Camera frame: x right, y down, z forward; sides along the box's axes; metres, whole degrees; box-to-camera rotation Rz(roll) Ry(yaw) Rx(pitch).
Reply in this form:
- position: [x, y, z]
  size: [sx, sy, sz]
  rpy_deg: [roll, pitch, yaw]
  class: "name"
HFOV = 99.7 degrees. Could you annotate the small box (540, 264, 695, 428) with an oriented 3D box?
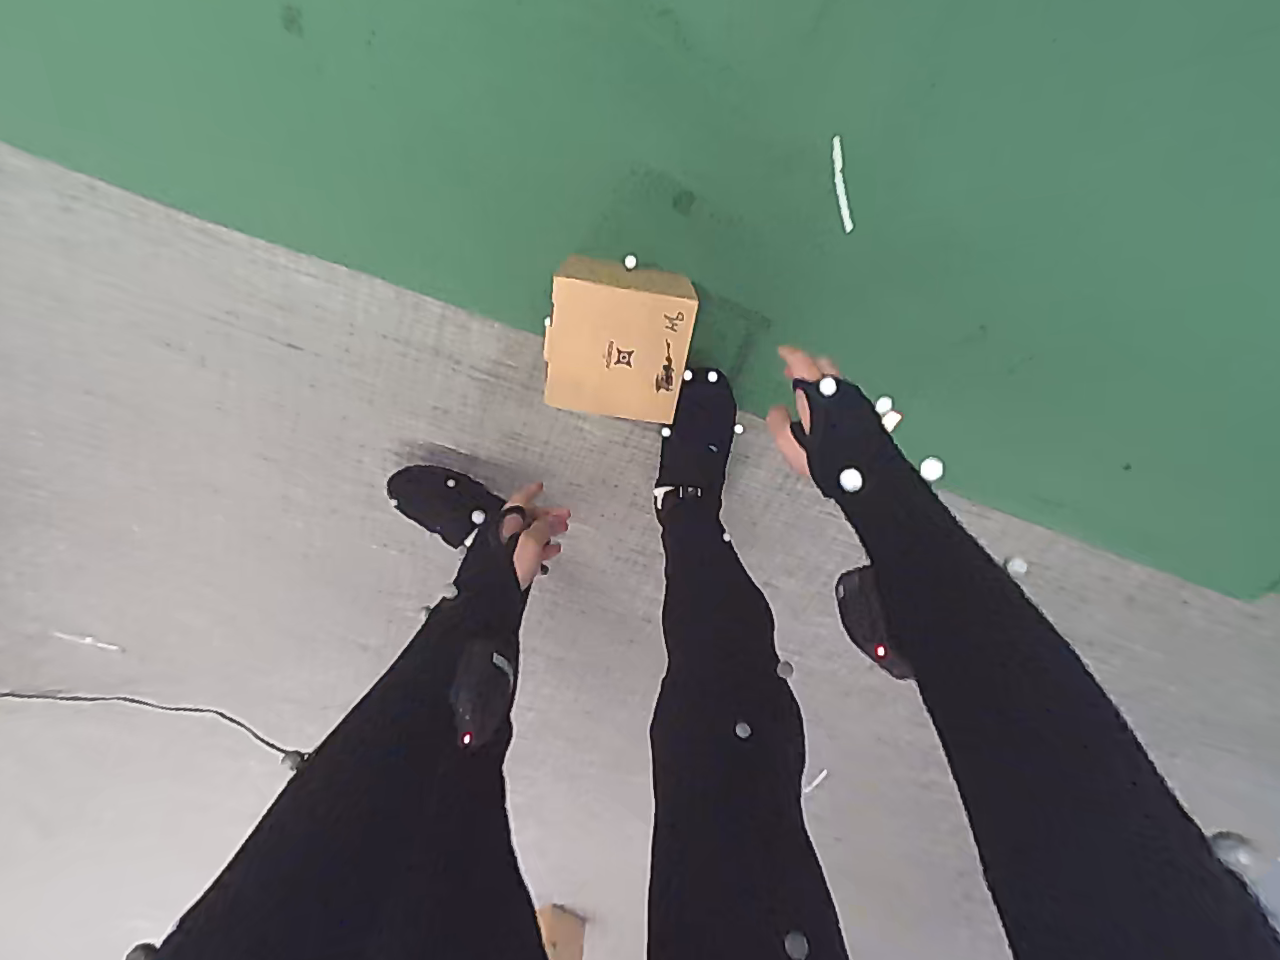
- position: [-0.031, -0.191, 0.747]
  size: [0.179, 0.176, 0.168]
  rpy_deg: [9, 120, -5]
  class: "small box"
